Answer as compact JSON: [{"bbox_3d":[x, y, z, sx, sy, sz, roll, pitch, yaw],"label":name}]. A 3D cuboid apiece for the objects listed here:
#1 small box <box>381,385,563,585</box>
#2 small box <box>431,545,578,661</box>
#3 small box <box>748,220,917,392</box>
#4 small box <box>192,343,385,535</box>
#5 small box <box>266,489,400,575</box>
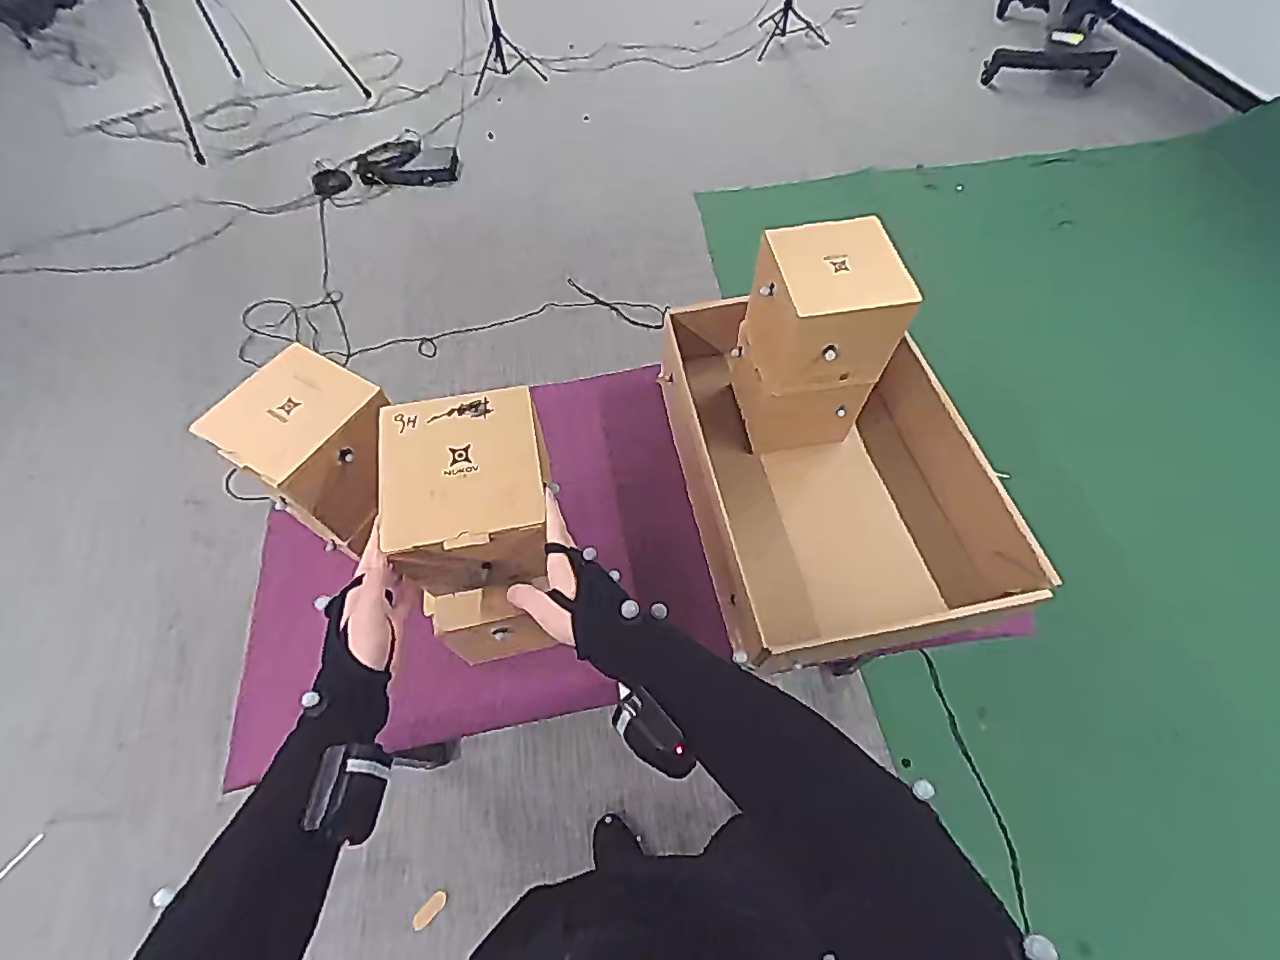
[{"bbox_3d":[-0.188,0.016,0.635,0.168,0.176,0.179,-10,66,-8],"label":"small box"},{"bbox_3d":[-0.201,0.159,0.818,0.179,0.176,0.168,-12,59,-6],"label":"small box"},{"bbox_3d":[0.267,-0.246,0.797,0.168,0.176,0.179,-8,60,-3],"label":"small box"},{"bbox_3d":[-0.449,-0.050,0.758,0.168,0.176,0.179,28,64,15],"label":"small box"},{"bbox_3d":[-0.451,0.037,0.896,0.179,0.176,0.168,27,63,16],"label":"small box"}]
